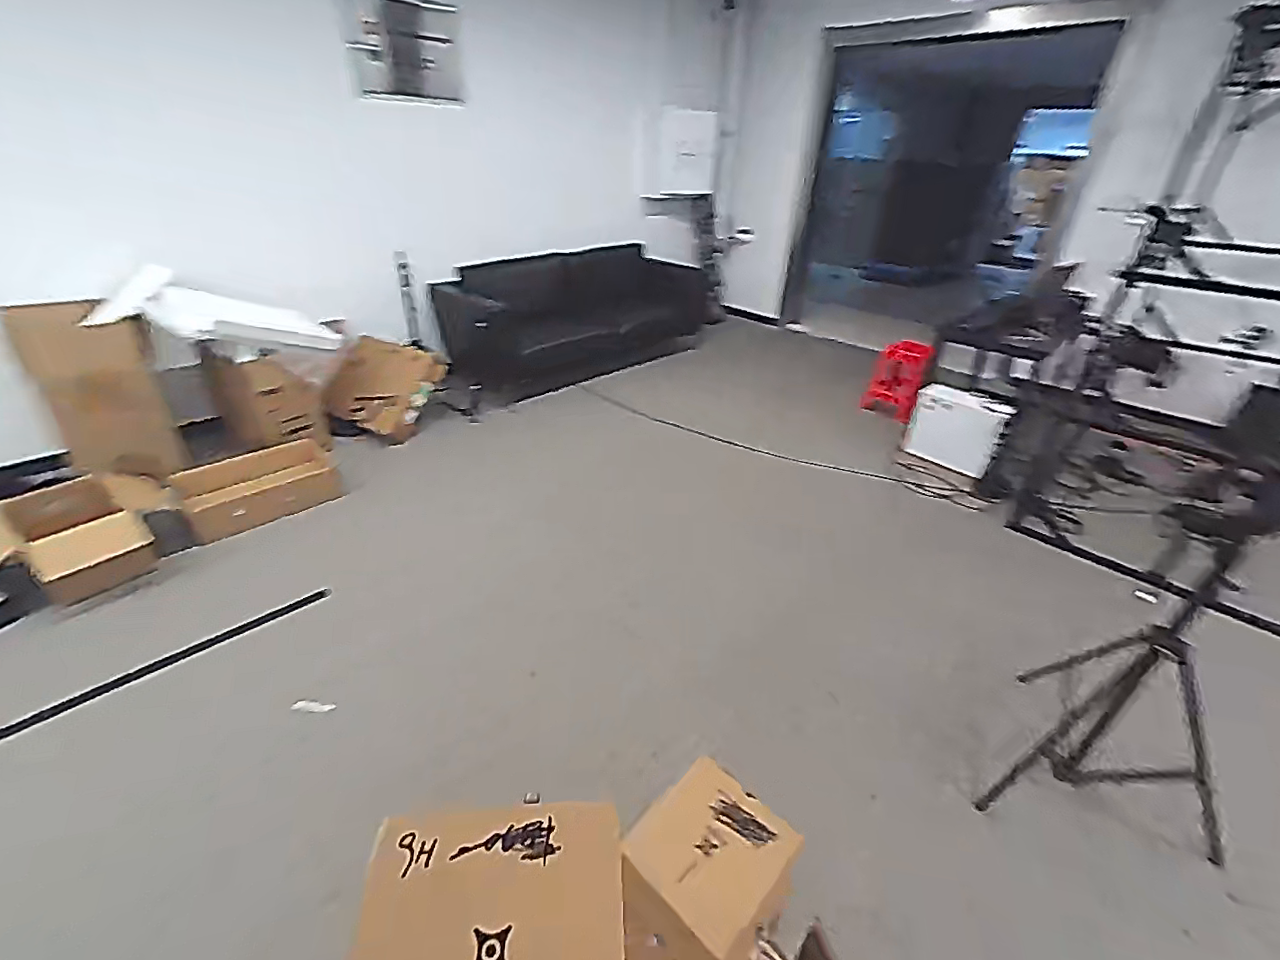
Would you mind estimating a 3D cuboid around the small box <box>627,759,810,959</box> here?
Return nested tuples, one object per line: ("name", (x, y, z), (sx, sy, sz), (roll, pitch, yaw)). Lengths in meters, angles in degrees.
("small box", (0.098, 0.526, 0.716), (0.179, 0.176, 0.168), (-28, 40, -36))

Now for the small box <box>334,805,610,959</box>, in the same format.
("small box", (-0.104, 0.348, 0.374), (0.168, 0.176, 0.179), (0, 46, -7))

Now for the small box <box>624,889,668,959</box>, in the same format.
("small box", (0.091, 0.660, 0.813), (0.168, 0.176, 0.179), (24, 40, 36))
